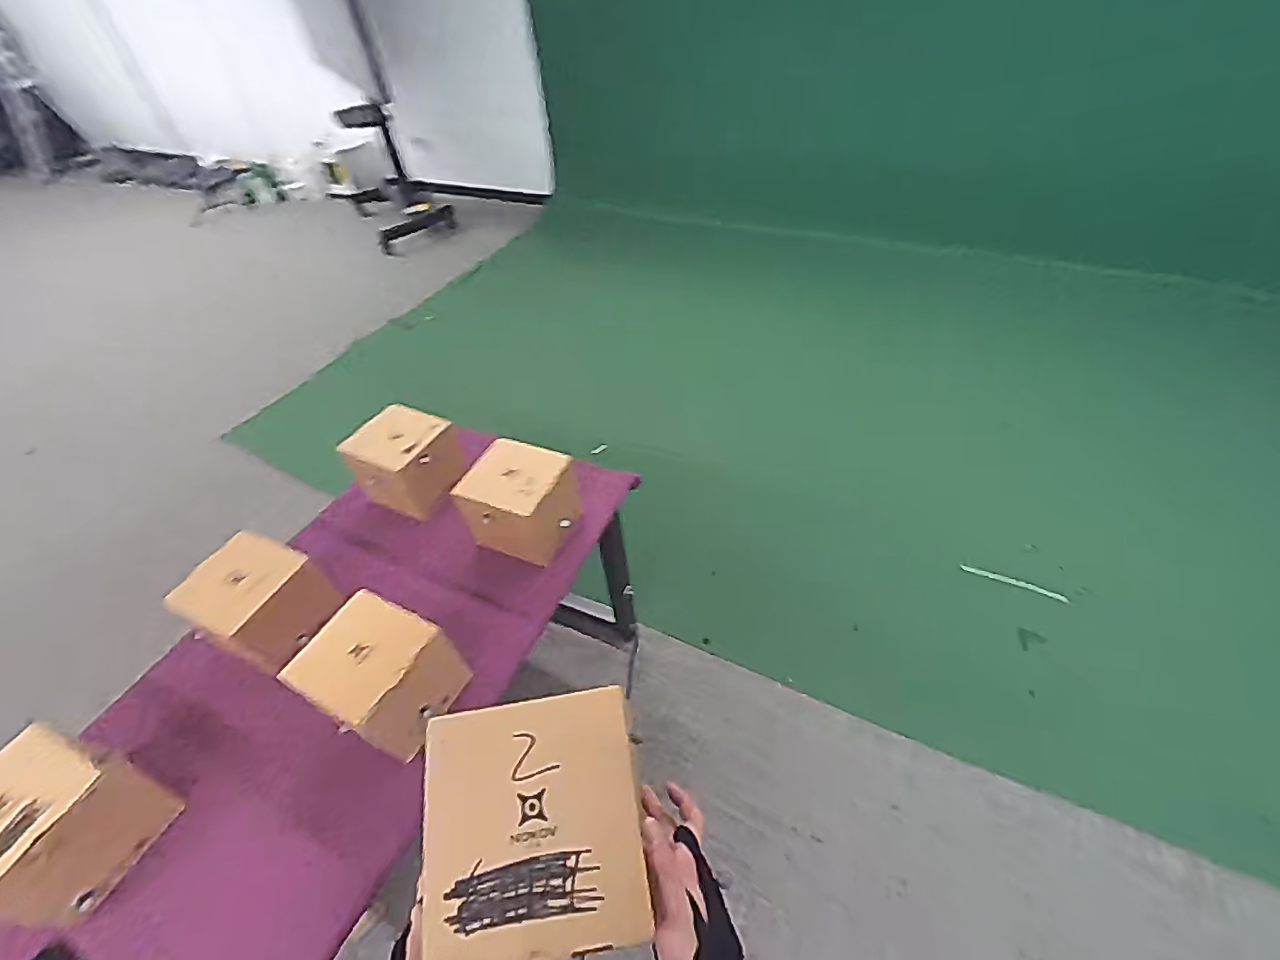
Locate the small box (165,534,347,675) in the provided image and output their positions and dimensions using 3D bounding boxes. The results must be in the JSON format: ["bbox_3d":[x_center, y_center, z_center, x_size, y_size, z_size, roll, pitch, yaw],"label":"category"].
[{"bbox_3d":[-0.689,0.231,0.991,0.179,0.176,0.168,16,52,19],"label":"small box"}]

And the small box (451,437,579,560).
[{"bbox_3d":[-0.246,0.040,1.110,0.179,0.176,0.168,15,52,19],"label":"small box"}]

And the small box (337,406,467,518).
[{"bbox_3d":[-0.526,-0.038,1.220,0.179,0.176,0.168,17,52,21],"label":"small box"}]

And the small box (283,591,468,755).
[{"bbox_3d":[-0.416,0.316,0.879,0.179,0.176,0.168,16,51,21],"label":"small box"}]

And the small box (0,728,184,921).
[{"bbox_3d":[-0.815,0.488,0.764,0.179,0.176,0.168,15,50,20],"label":"small box"}]
